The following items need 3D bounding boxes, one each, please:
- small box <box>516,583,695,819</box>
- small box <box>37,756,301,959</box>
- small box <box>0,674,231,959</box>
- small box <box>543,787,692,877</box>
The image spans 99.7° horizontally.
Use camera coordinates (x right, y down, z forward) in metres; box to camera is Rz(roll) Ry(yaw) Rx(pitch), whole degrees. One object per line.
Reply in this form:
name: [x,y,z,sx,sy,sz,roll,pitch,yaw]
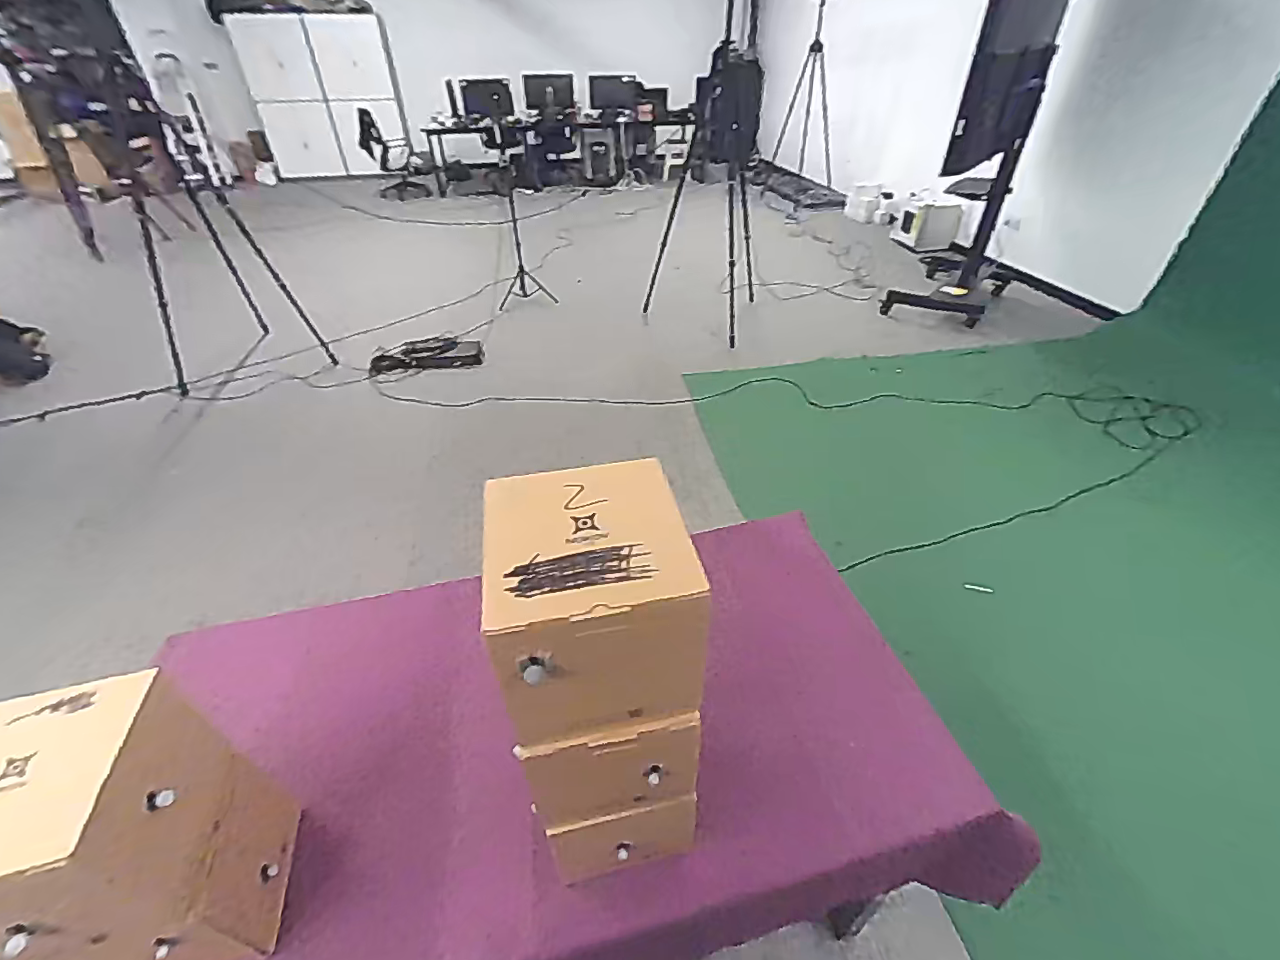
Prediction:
small box: [-0.039,0.244,0.593,0.168,0.176,0.179,-7,38,-7]
small box: [-0.525,0.453,0.613,0.179,0.176,0.168,-10,39,-12]
small box: [-0.534,0.322,0.513,0.168,0.176,0.179,-10,39,-12]
small box: [-0.035,0.374,0.691,0.168,0.176,0.179,-9,38,-9]
